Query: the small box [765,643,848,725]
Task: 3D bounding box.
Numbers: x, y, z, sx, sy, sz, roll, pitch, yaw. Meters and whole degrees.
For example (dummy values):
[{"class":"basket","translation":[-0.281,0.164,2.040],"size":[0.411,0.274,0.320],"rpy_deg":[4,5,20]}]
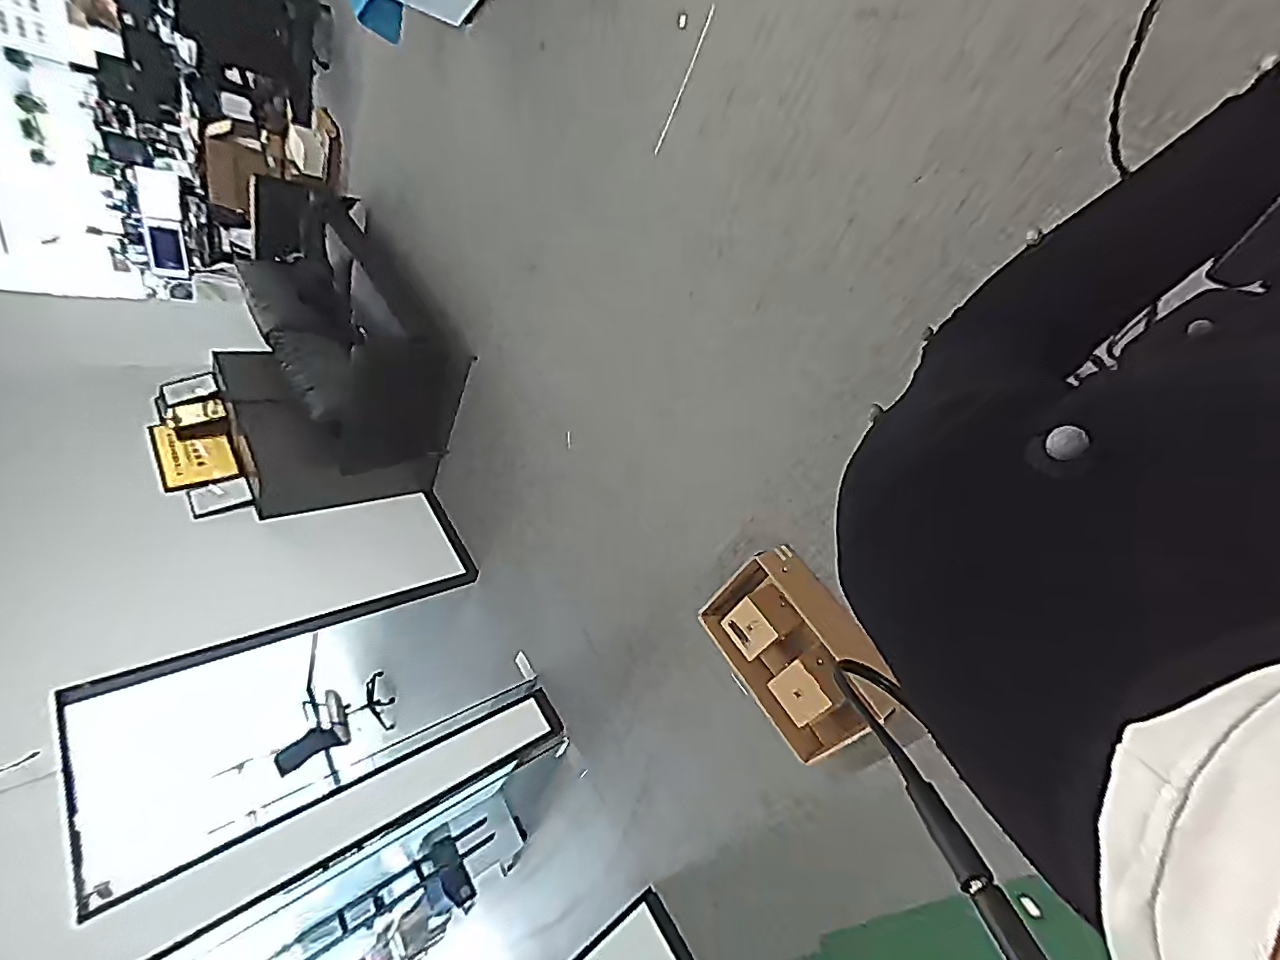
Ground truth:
[{"class":"small box","translation":[0.558,0.668,1.789],"size":[0.168,0.176,0.179],"rpy_deg":[54,132,27]}]
